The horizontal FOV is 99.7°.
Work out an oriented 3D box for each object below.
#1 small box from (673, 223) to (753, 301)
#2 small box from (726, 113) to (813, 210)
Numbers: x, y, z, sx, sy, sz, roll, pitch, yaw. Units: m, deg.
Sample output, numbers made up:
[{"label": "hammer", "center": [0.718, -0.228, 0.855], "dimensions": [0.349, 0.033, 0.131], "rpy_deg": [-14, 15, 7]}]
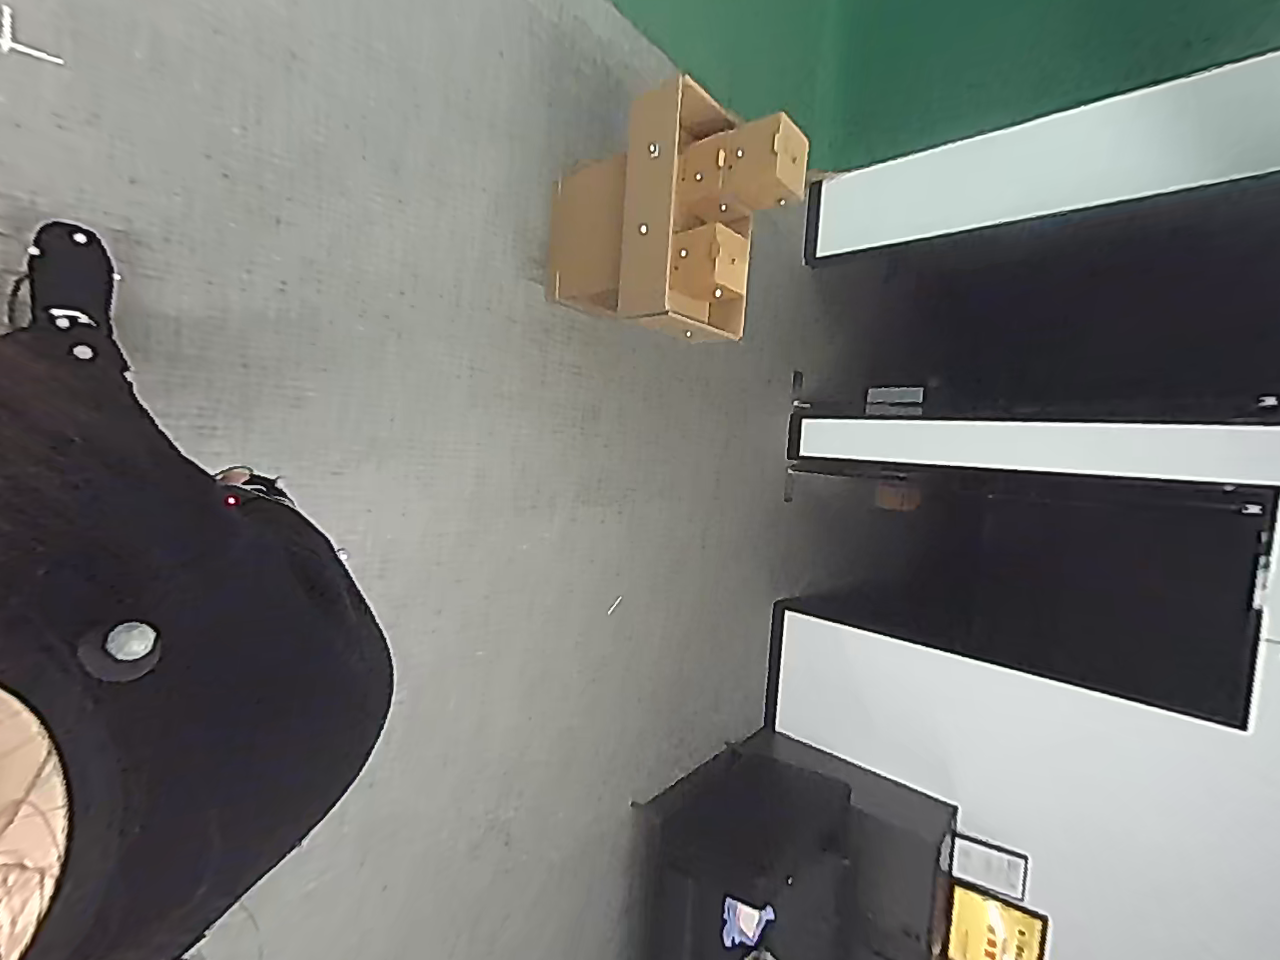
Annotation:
[{"label": "small box", "center": [0.221, -0.650, 1.639], "dimensions": [0.179, 0.176, 0.168], "rpy_deg": [-1, 95, -48]}, {"label": "small box", "center": [0.363, -0.881, 1.517], "dimensions": [0.179, 0.176, 0.168], "rpy_deg": [0, 96, -48]}]
